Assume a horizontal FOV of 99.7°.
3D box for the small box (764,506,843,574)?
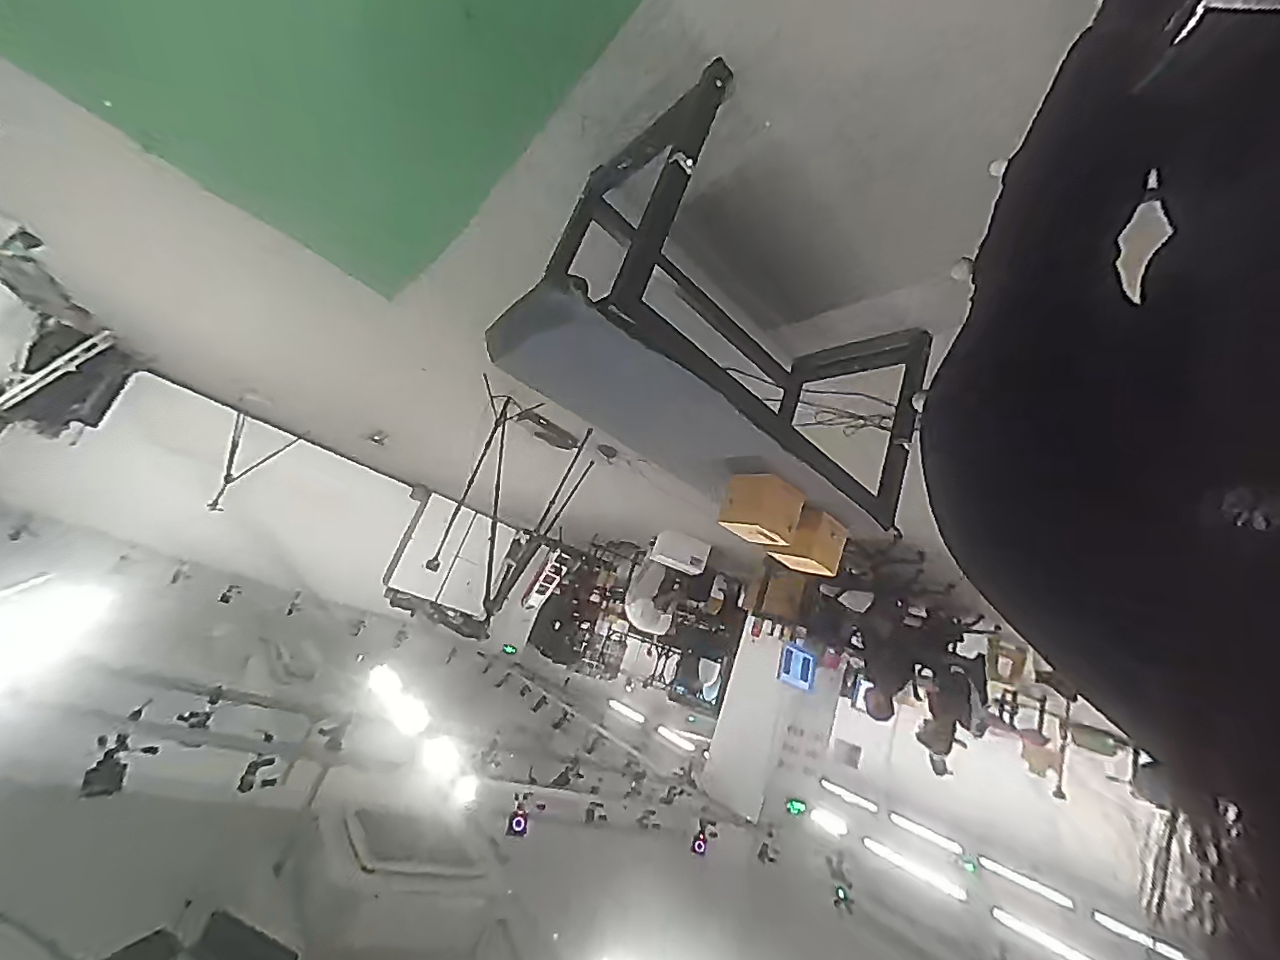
[{"bbox_3d":[0.551,0.197,1.811,0.168,0.176,0.179,32,162,-35],"label":"small box"}]
